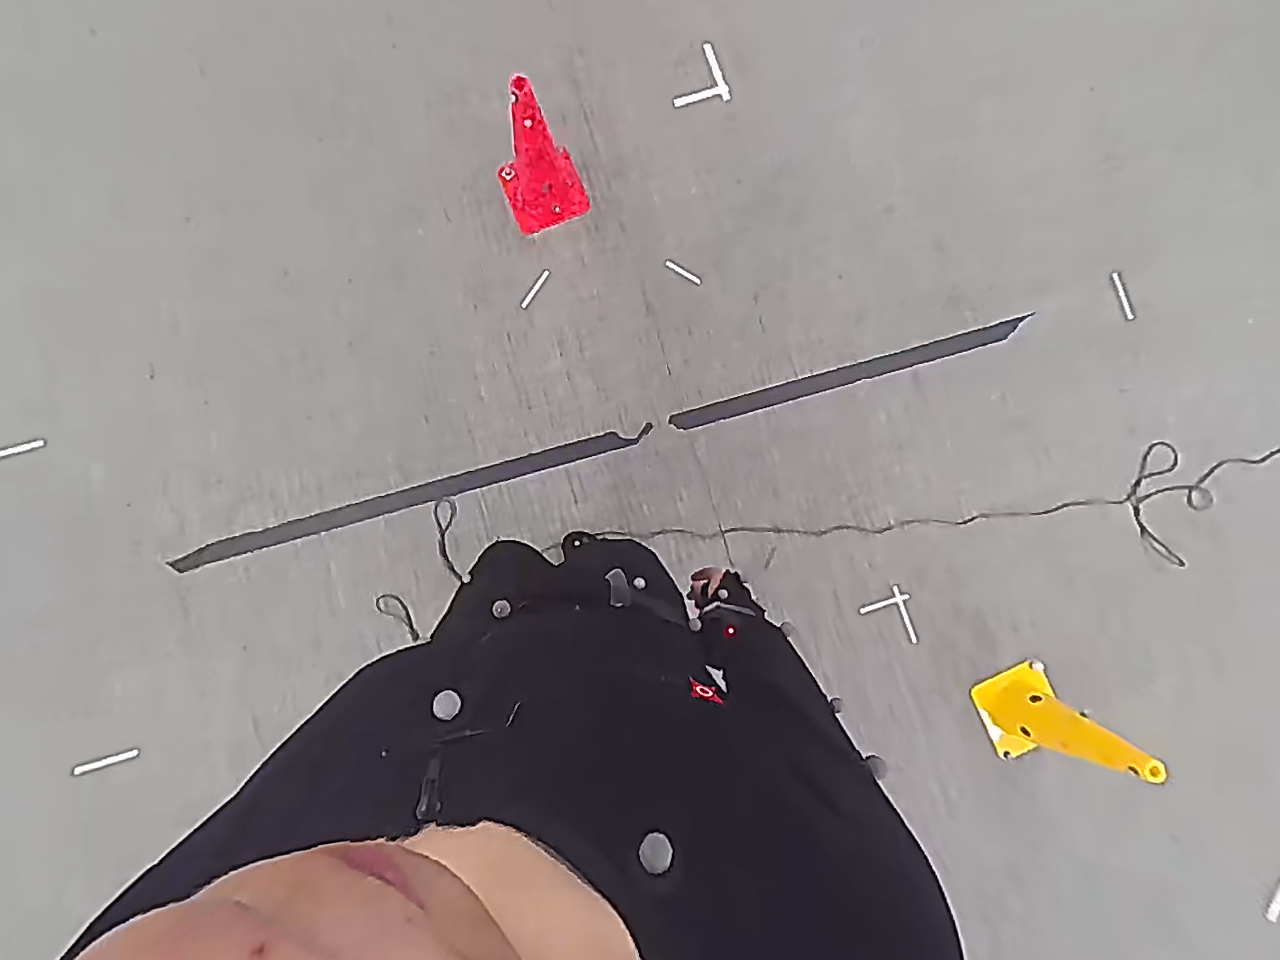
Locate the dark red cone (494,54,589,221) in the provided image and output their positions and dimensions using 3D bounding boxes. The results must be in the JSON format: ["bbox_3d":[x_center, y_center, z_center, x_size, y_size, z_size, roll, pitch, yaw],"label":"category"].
[{"bbox_3d":[-0.248,-0.795,1.239,0.202,0.394,0.201,-24,88,-4],"label":"dark red cone"}]

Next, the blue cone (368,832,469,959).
[{"bbox_3d":[-0.511,0.942,1.126,0.193,0.380,0.192,-16,87,-3],"label":"blue cone"}]
